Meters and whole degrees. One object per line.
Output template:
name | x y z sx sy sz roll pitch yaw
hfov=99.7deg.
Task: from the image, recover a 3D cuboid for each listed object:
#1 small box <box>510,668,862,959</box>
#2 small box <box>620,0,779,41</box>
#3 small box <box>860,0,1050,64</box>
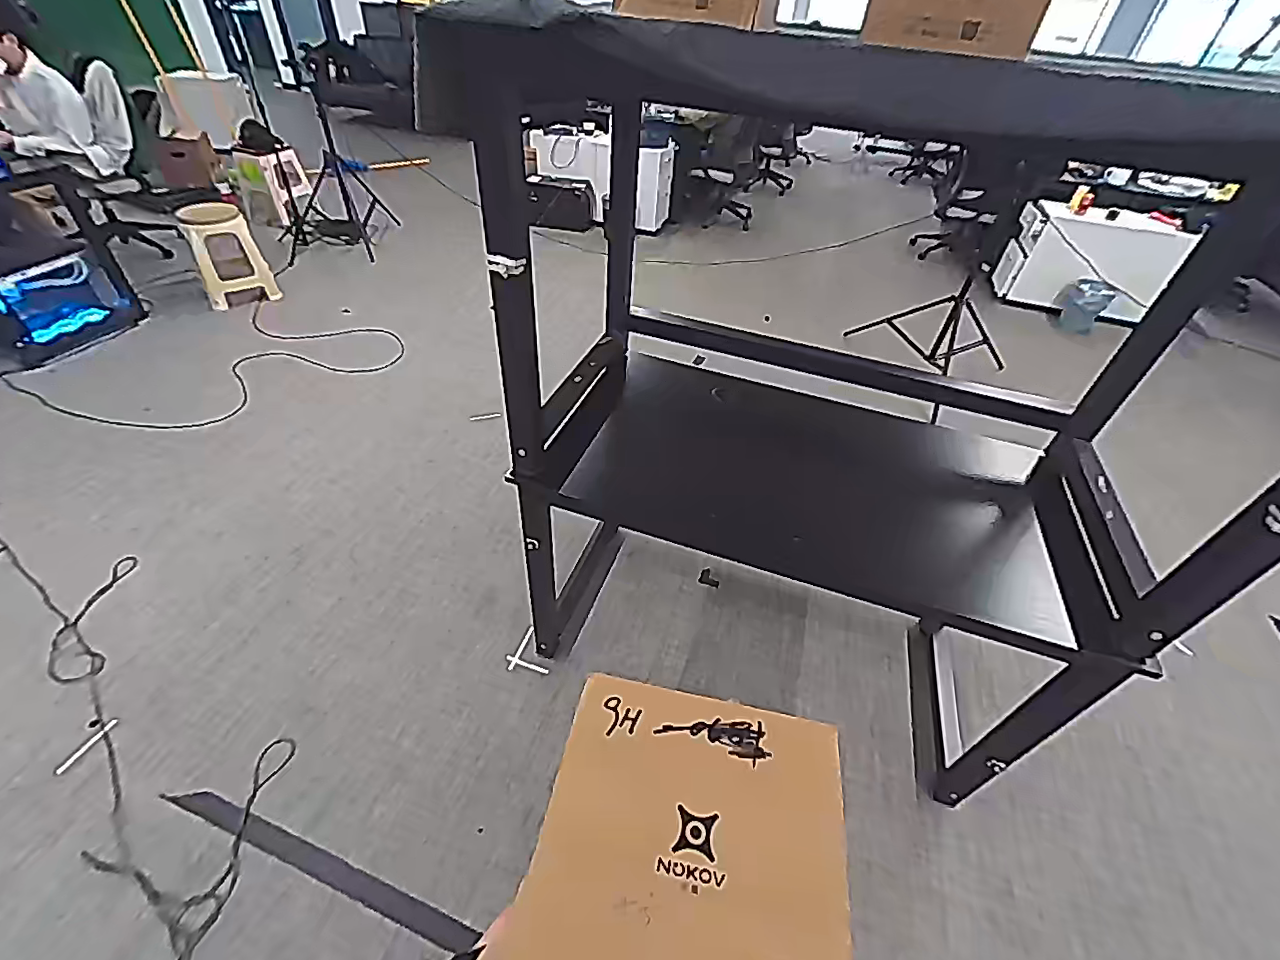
small box | 0.029 0.253 0.341 0.168 0.176 0.179 11 44 6
small box | 0.081 -0.620 0.615 0.168 0.176 0.179 16 42 10
small box | 0.339 -0.548 0.559 0.168 0.176 0.179 16 41 12
